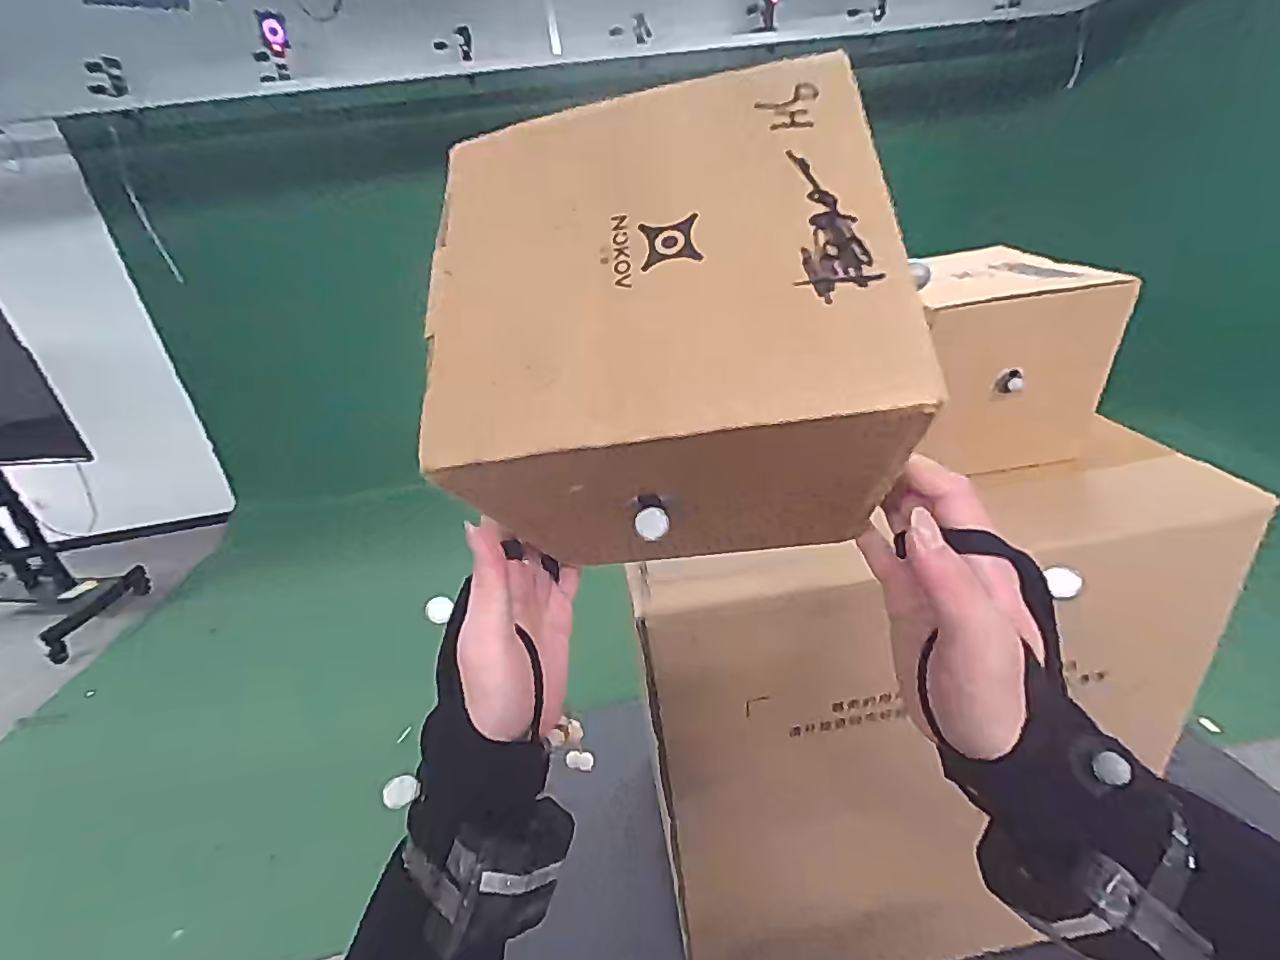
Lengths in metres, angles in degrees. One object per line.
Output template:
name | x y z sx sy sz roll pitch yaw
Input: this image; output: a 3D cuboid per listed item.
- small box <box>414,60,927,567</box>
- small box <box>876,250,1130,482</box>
small box | 0.017 -0.055 0.277 0.179 0.168 0.176 -7 -20 11
small box | 0.308 -0.116 0.537 0.179 0.176 0.168 -9 32 -2
